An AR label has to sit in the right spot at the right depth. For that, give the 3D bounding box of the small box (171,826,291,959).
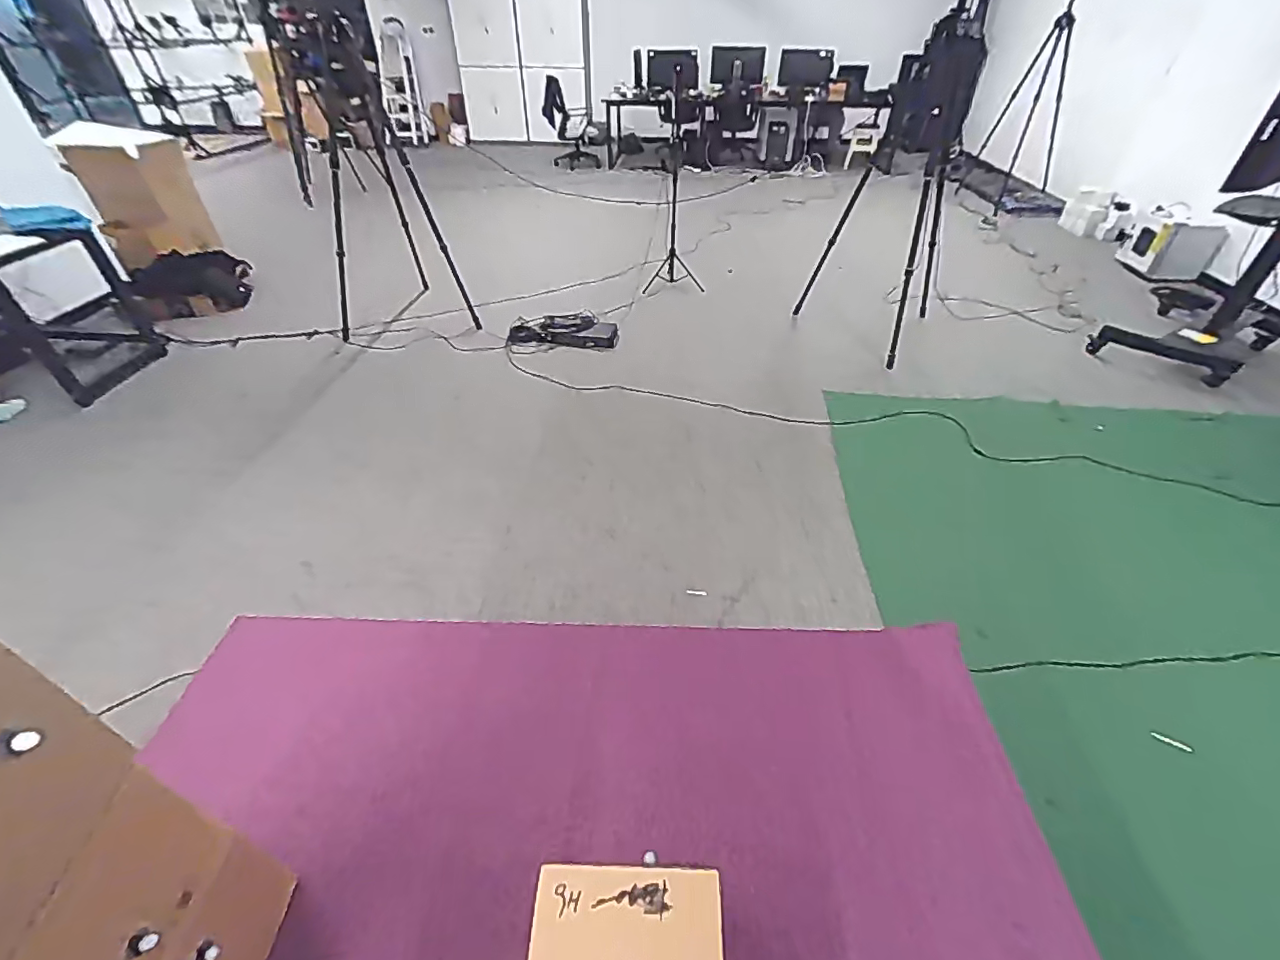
[{"bbox_3d":[-0.489,0.466,0.534,0.168,0.176,0.179,1,40,0],"label":"small box"}]

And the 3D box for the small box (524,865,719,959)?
[{"bbox_3d":[-0.010,0.471,0.495,0.168,0.176,0.179,-1,49,6],"label":"small box"}]
